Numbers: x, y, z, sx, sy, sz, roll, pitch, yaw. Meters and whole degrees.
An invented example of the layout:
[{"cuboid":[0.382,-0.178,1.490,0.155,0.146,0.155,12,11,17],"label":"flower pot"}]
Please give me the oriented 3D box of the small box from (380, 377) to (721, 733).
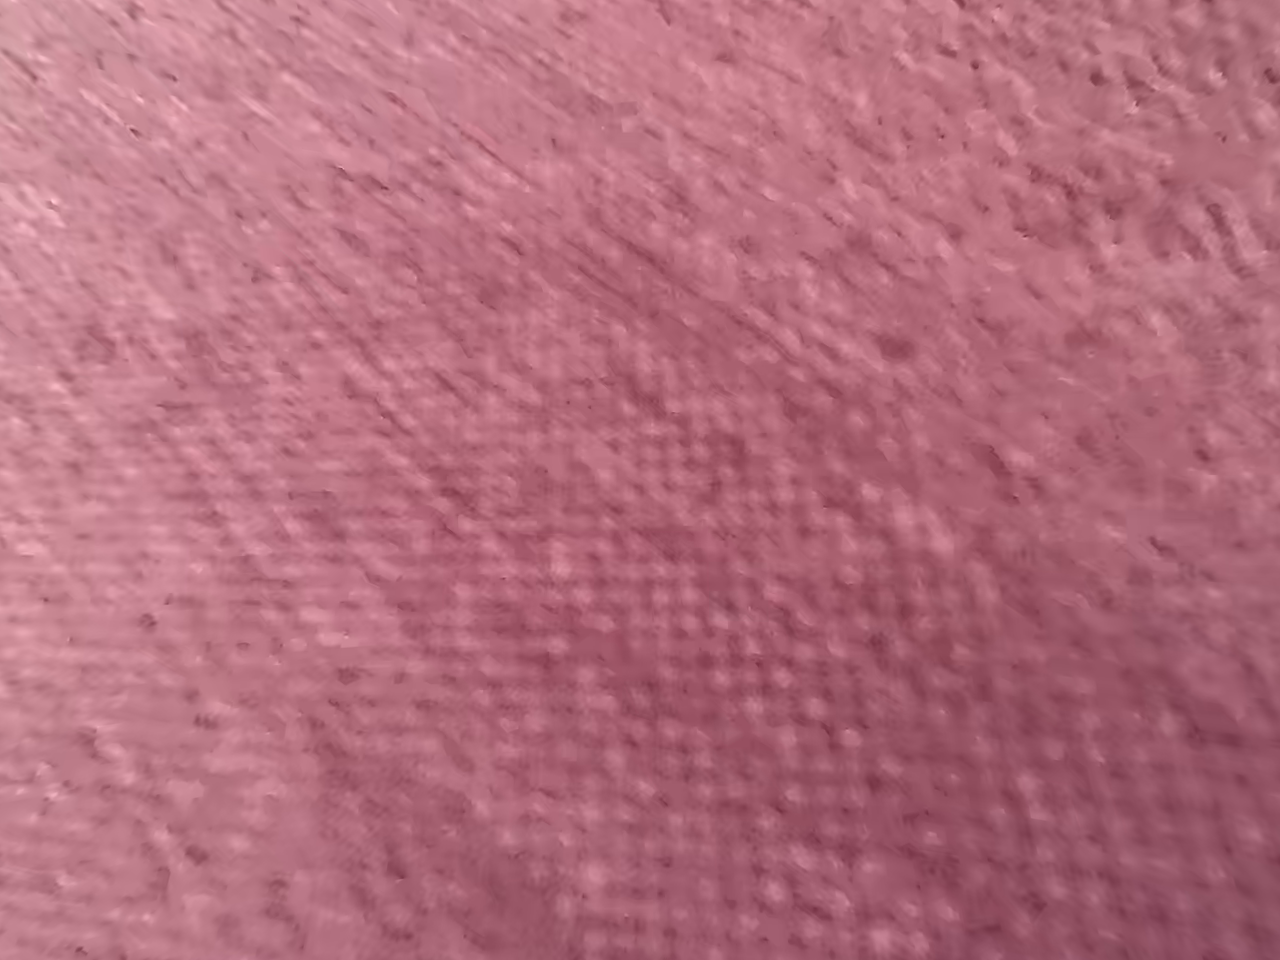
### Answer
[{"cuboid":[-0.051,0.054,0.429,0.168,0.176,0.179,-44,75,2],"label":"small box"}]
